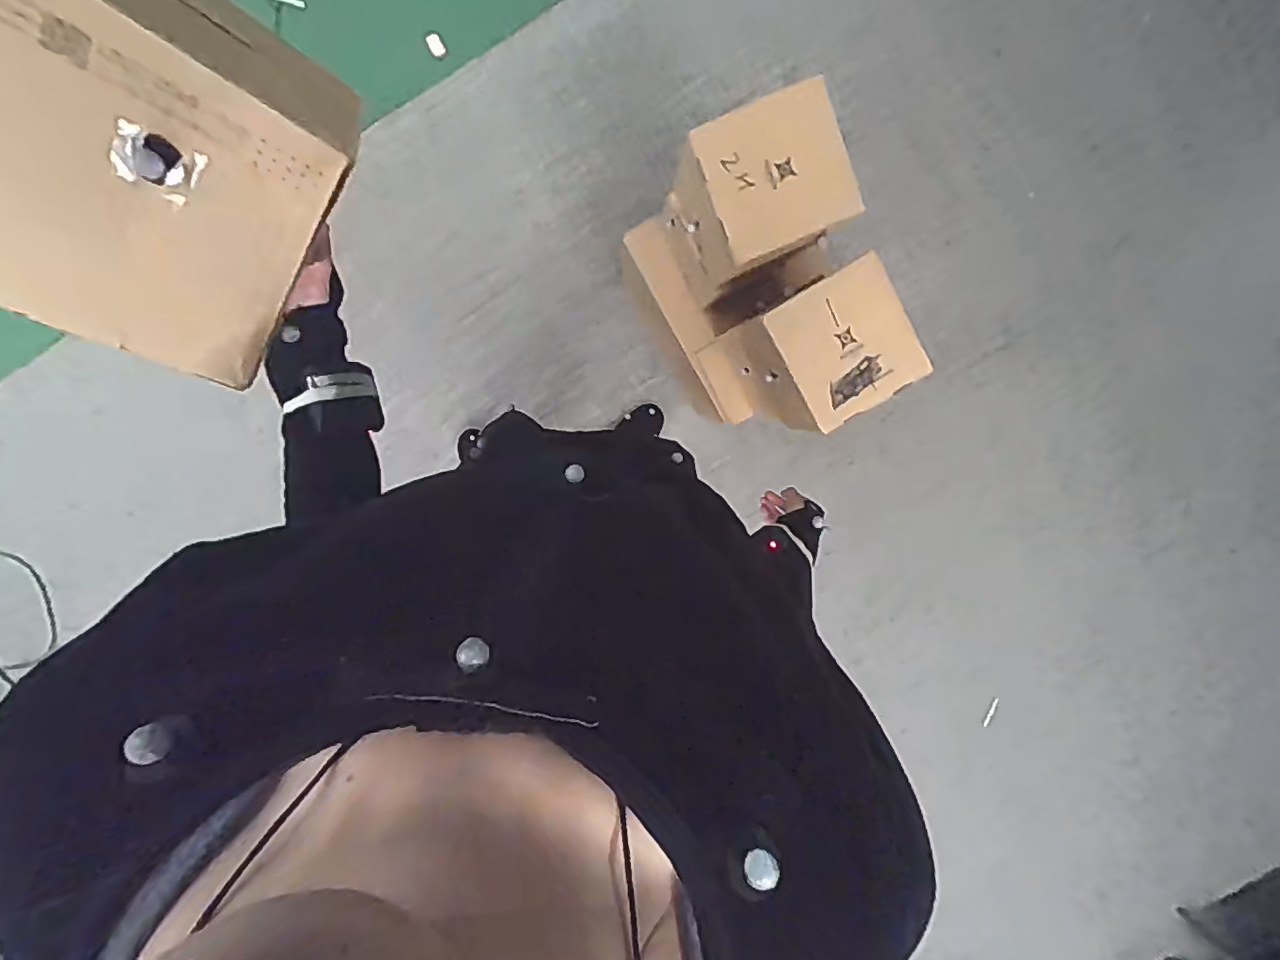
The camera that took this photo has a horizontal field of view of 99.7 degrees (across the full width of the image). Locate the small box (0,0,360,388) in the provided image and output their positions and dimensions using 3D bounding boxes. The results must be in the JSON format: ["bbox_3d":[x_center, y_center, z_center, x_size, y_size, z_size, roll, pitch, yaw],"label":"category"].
[{"bbox_3d":[-0.285,-0.194,0.322,0.168,0.179,0.176,22,119,-38],"label":"small box"}]

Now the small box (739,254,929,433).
[{"bbox_3d":[0.263,-0.186,0.772,0.168,0.176,0.179,-30,98,3],"label":"small box"}]
